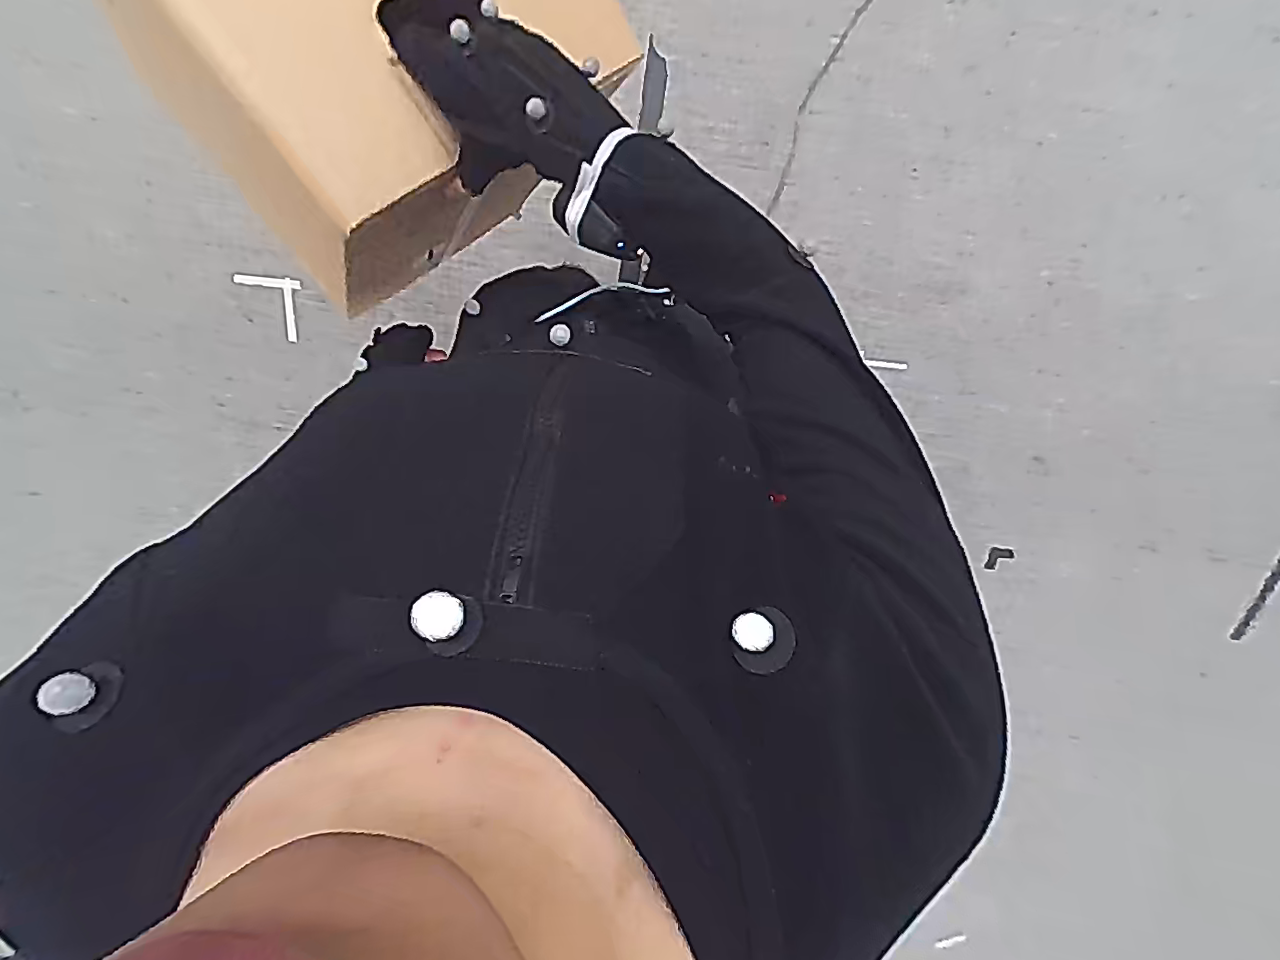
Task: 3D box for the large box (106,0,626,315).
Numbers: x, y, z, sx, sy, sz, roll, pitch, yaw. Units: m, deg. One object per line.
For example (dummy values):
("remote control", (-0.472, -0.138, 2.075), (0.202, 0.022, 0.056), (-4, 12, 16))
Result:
("large box", (-0.286, -0.419, 0.570), (0.320, 0.408, 0.320), (-43, 113, -17))
